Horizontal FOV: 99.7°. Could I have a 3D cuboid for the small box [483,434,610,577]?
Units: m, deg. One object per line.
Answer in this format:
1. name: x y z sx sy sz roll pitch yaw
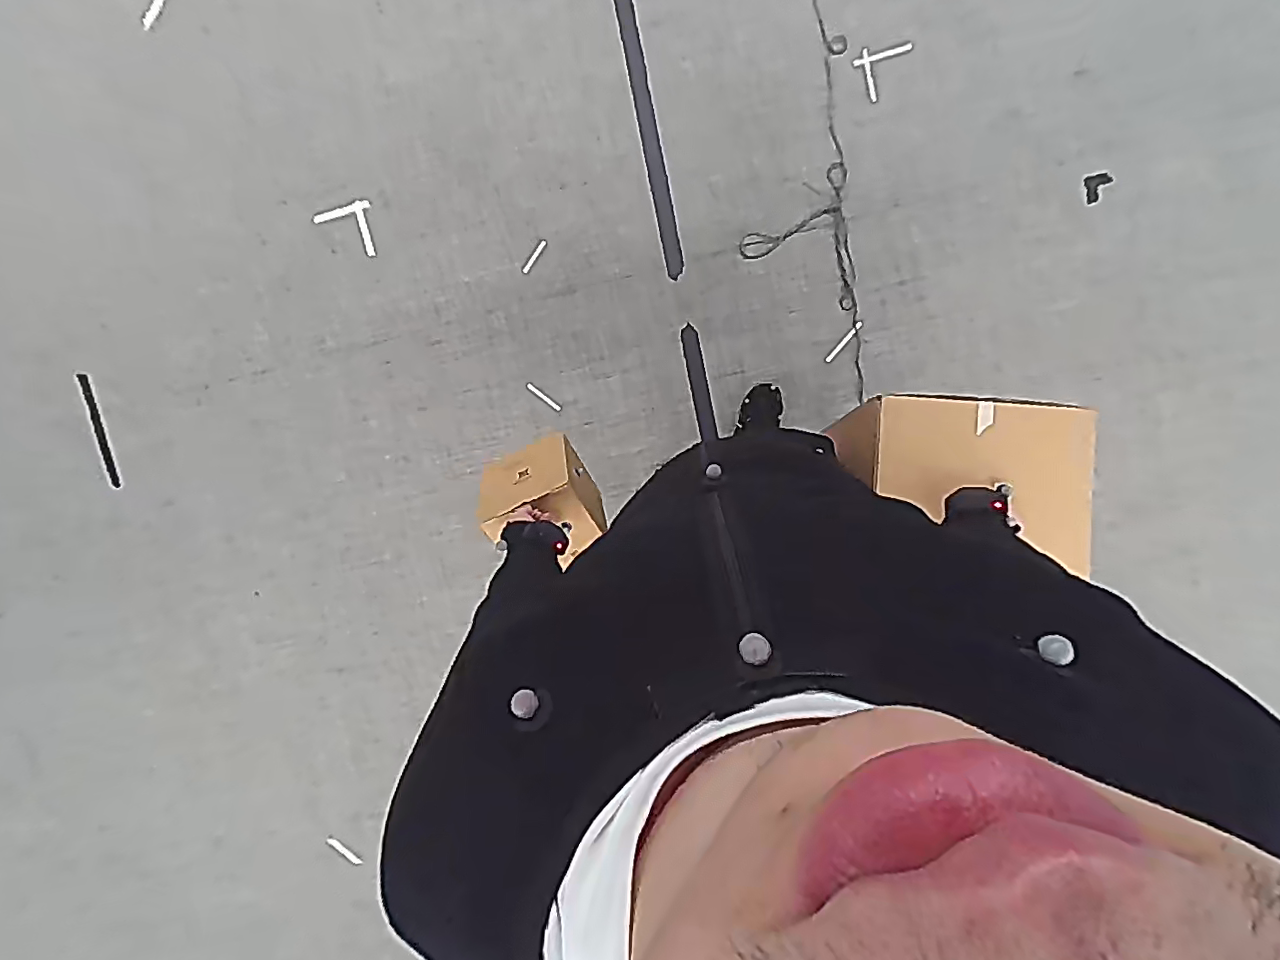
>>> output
1. small box: -0.166 0.053 0.988 0.168 0.179 0.176 -24 124 5
